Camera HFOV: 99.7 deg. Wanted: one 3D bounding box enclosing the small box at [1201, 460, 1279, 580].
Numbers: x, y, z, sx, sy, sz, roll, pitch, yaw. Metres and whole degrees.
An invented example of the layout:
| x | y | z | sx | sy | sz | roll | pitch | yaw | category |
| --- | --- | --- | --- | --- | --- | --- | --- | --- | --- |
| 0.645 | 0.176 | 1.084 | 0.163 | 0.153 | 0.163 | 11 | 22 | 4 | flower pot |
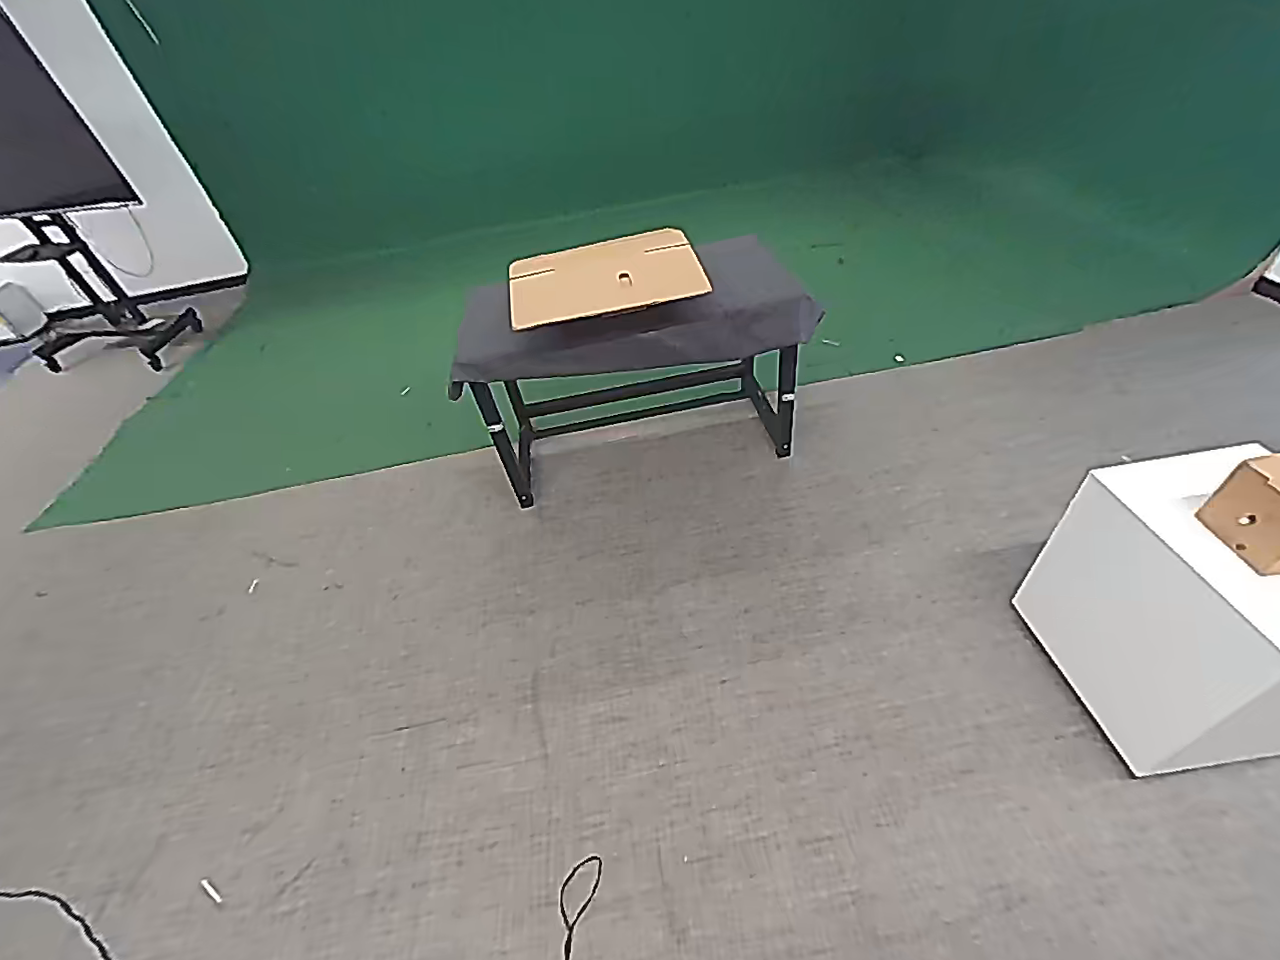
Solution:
| x | y | z | sx | sy | sz | roll | pitch | yaw | category |
| --- | --- | --- | --- | --- | --- | --- | --- | --- | --- |
| 1.264 | 0.076 | 1.049 | 0.179 | 0.176 | 0.168 | -9 | 42 | 0 | small box |
